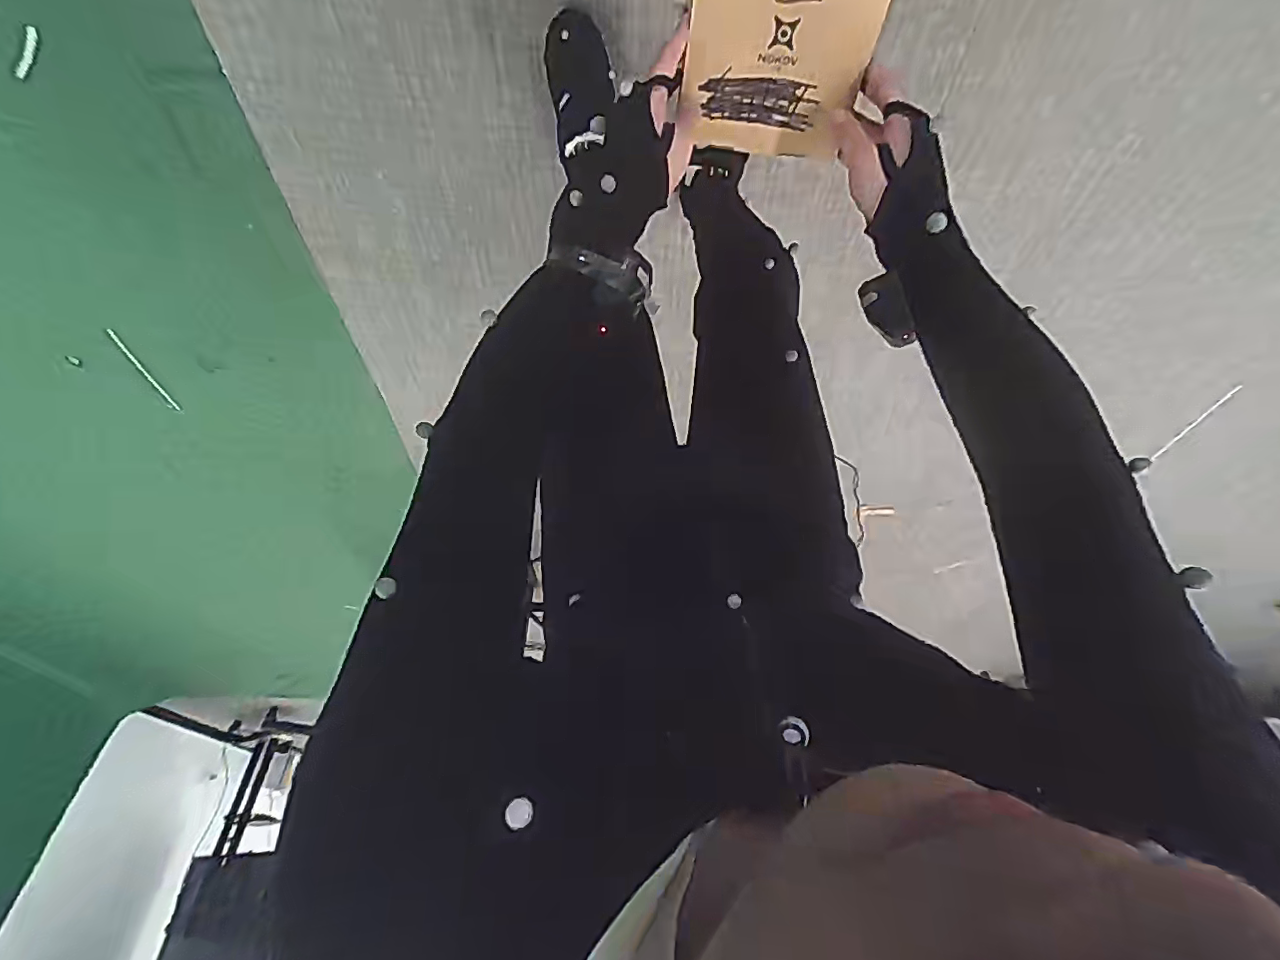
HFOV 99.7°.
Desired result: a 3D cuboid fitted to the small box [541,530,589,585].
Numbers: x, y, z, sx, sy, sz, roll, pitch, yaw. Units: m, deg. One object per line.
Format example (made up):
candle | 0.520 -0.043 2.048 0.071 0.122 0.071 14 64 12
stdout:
small box | -0.302 0.316 2.213 0.168 0.176 0.179 -1 143 3
